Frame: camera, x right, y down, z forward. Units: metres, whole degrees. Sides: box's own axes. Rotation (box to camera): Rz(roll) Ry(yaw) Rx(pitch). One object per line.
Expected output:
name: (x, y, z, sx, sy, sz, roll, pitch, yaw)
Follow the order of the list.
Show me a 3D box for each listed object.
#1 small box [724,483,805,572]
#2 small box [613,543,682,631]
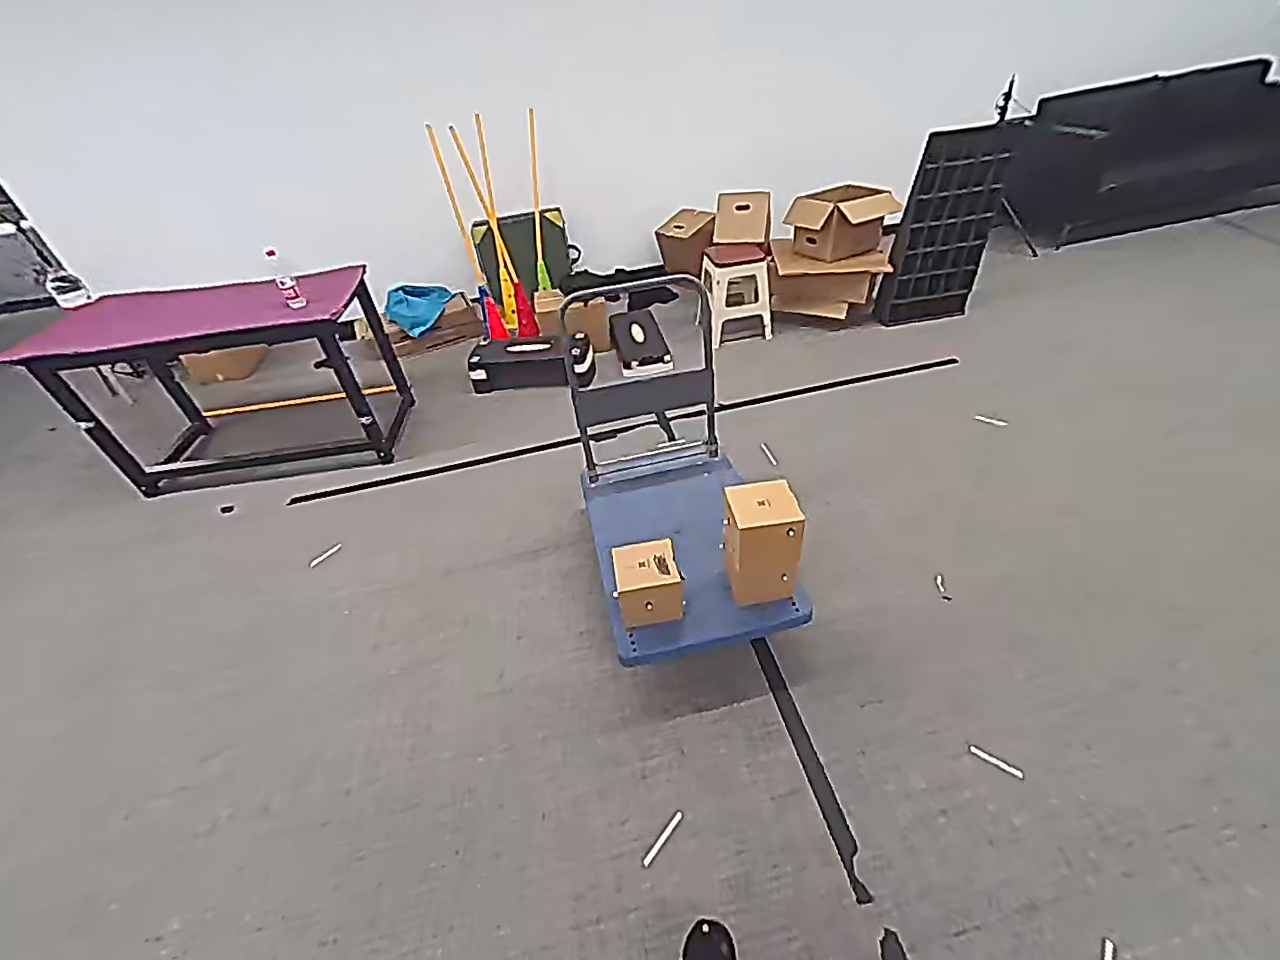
small box: (0.331, 0.134, 1.470, 0.179, 0.176, 0.168, -8, 39, -2)
small box: (0.024, 0.310, 1.559, 0.179, 0.176, 0.168, -10, 39, -2)
